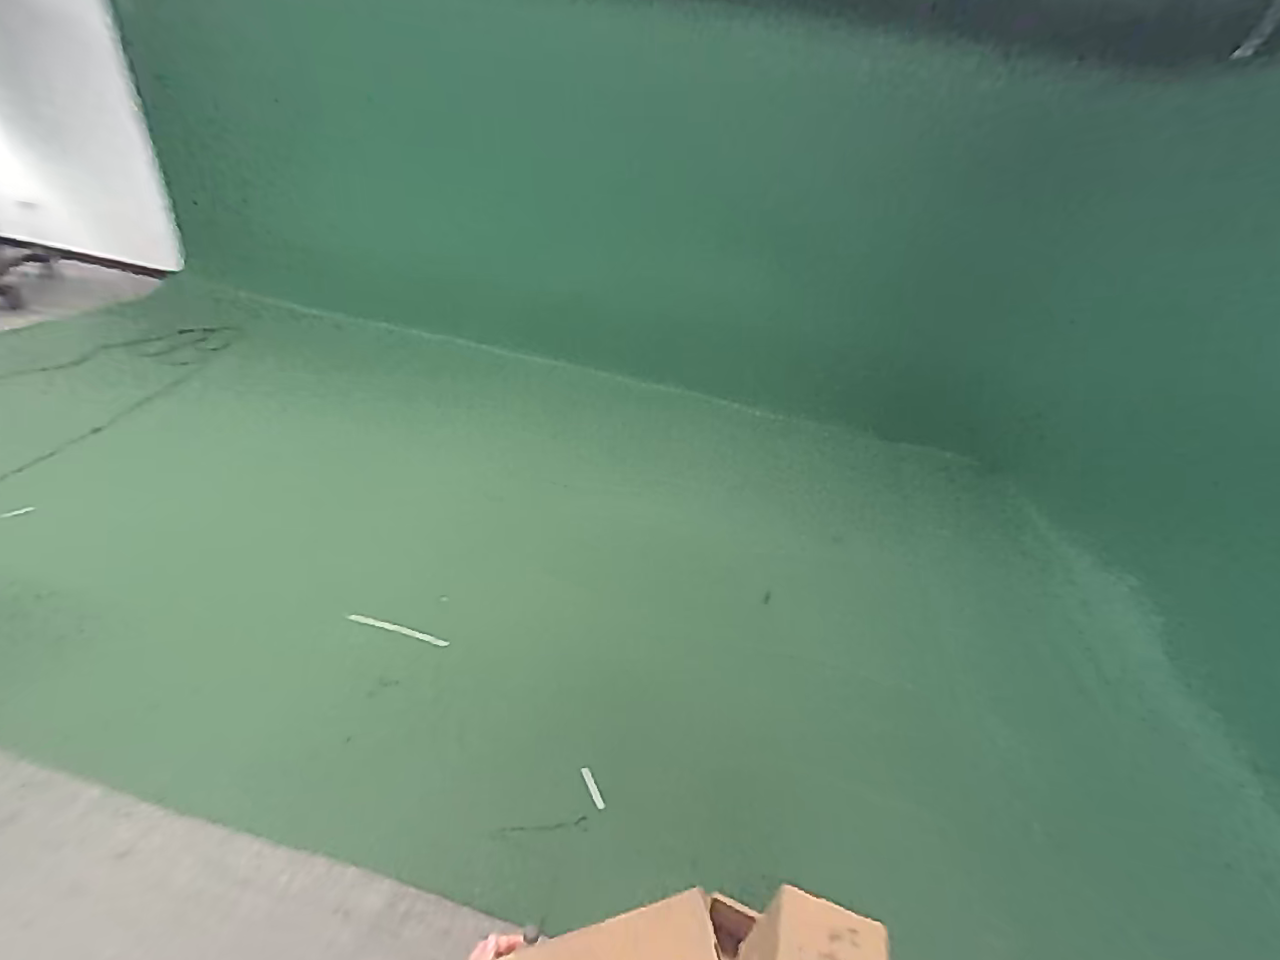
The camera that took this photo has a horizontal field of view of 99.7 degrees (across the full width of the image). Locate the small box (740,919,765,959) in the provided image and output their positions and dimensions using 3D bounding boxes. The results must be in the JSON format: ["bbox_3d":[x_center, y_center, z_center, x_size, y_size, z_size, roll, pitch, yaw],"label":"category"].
[{"bbox_3d":[0.265,0.935,0.955,0.179,0.176,0.168,17,35,14],"label":"small box"}]

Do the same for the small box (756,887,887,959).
[{"bbox_3d":[0.277,0.805,0.853,0.168,0.176,0.179,17,35,12],"label":"small box"}]
